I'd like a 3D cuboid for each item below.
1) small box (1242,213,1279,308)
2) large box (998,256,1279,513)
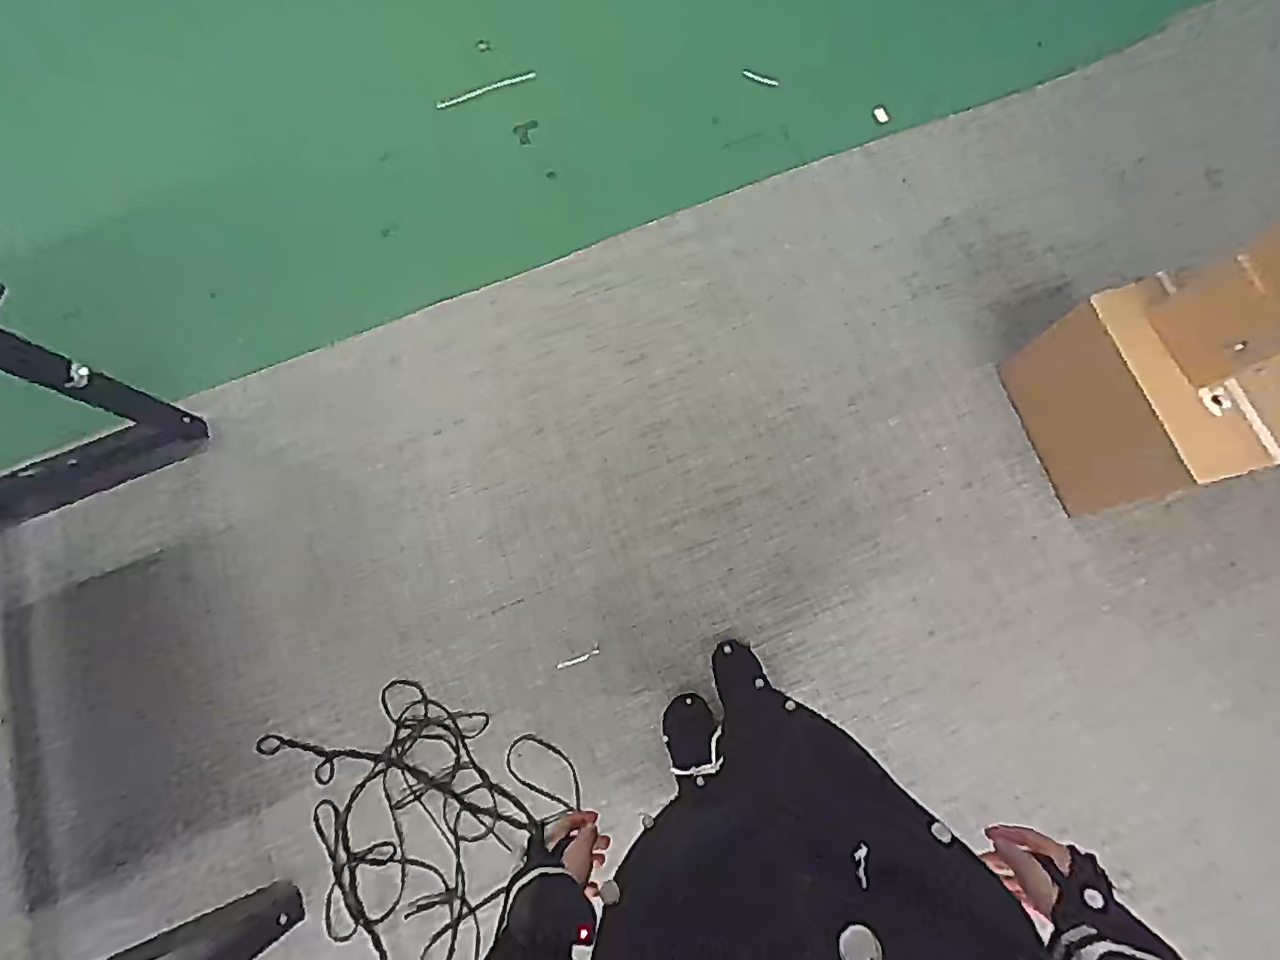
[{"bbox_3d":[1.058,-0.343,0.774,0.168,0.176,0.179,-12,74,-2],"label":"small box"},{"bbox_3d":[1.076,-0.183,1.152,0.320,0.320,0.408,-17,76,-1],"label":"large box"}]
